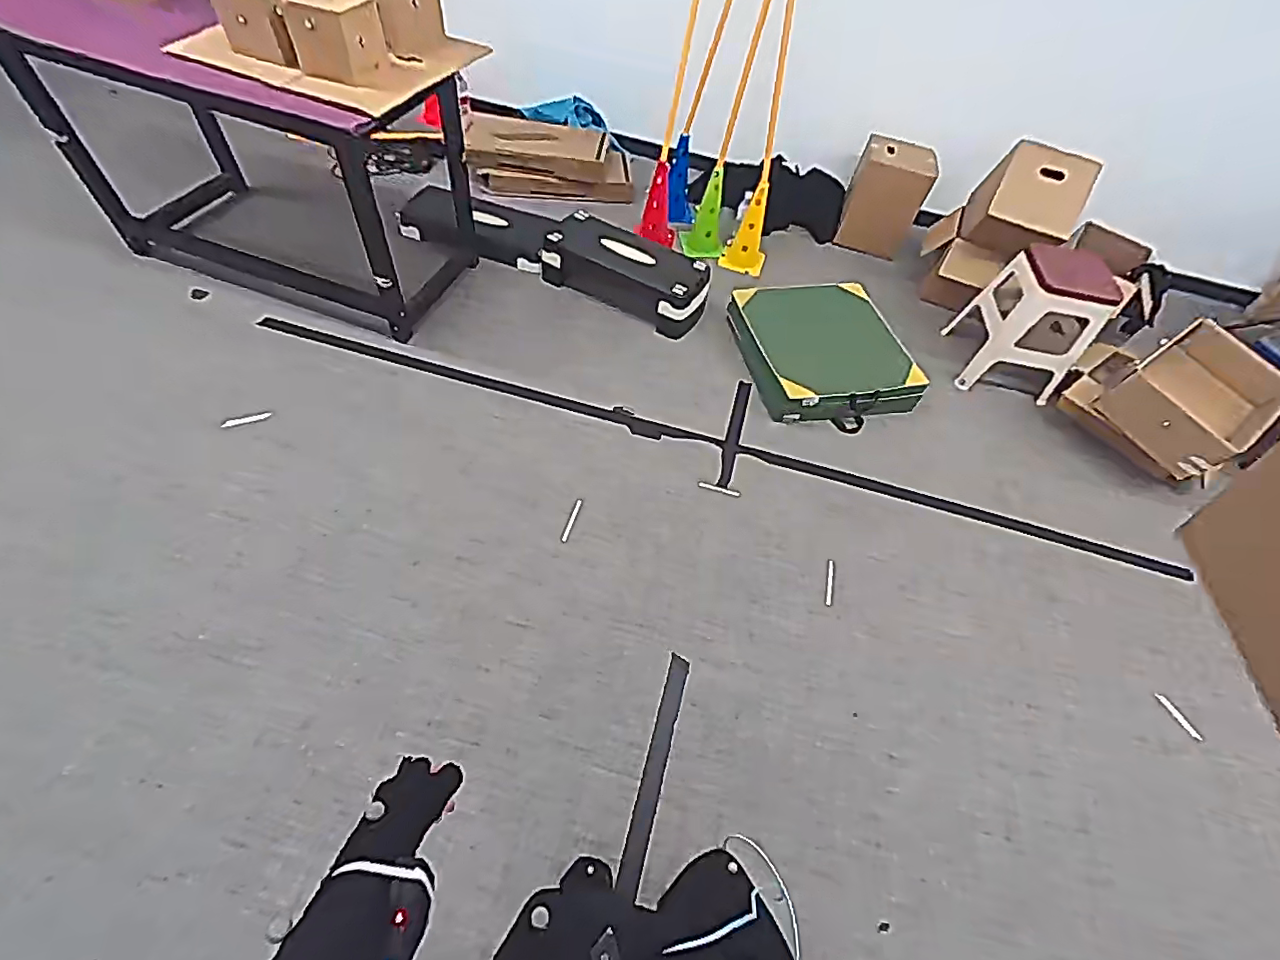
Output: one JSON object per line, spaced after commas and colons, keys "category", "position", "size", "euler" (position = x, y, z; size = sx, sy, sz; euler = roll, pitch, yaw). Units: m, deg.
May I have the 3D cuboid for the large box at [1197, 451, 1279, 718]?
{"category": "large box", "position": [0.555, 0.046, 0.184], "size": [0.320, 0.408, 0.320], "euler": [9, 54, 13]}
